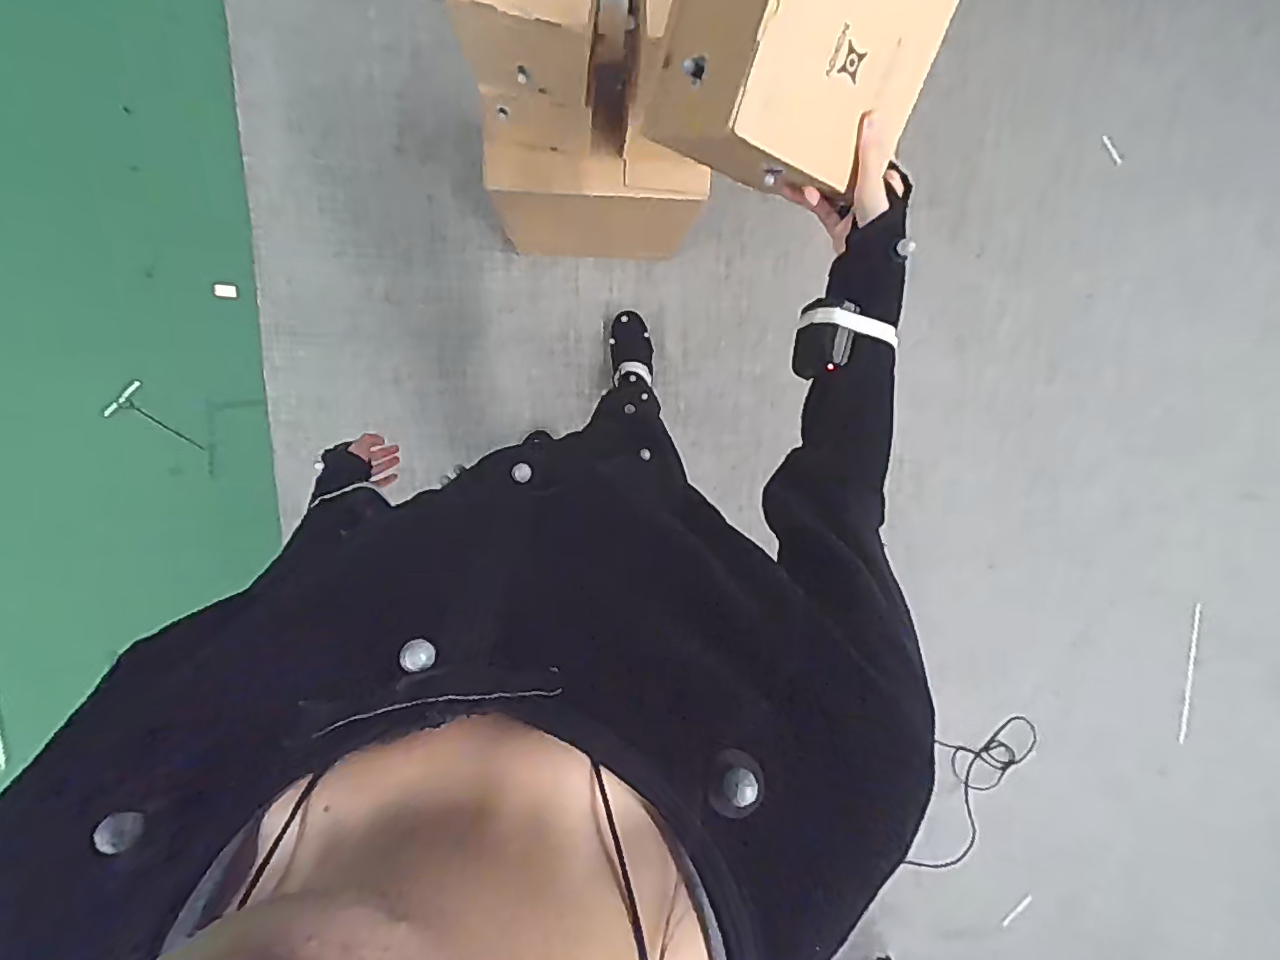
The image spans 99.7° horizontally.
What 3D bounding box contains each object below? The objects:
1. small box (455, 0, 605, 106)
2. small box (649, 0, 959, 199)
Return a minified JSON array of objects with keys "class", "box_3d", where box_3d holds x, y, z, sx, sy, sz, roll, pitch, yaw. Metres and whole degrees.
[{"class":"small box","box_3d":[-0.132,-0.630,0.690,0.168,0.176,0.179,10,98,-7]},{"class":"small box","box_3d":[0.132,-0.376,0.492,0.179,0.176,0.168,5,117,-32]}]
